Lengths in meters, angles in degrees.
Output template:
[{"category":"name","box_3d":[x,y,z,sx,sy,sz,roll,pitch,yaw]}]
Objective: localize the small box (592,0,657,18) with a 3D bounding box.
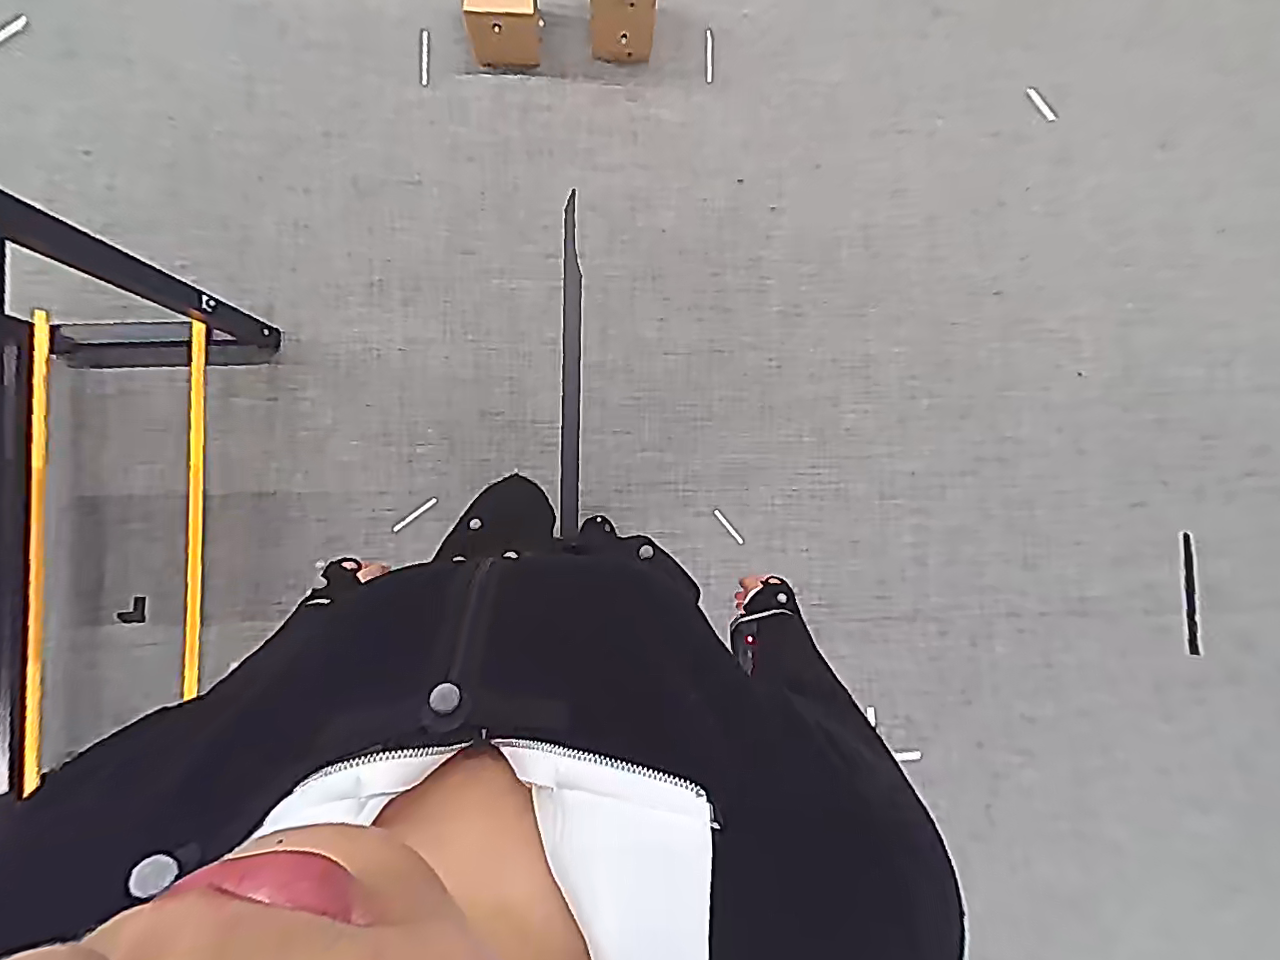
[{"category":"small box","box_3d":[-0.035,-1.278,1.305,0.168,0.176,0.179,1,88,-4]}]

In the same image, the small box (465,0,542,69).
[{"category":"small box","box_3d":[-0.361,-1.242,1.446,0.179,0.176,0.168,-2,88,-4]}]

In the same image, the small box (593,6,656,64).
[{"category":"small box","box_3d":[-0.043,-1.280,1.471,0.168,0.176,0.179,0,89,-3]}]
